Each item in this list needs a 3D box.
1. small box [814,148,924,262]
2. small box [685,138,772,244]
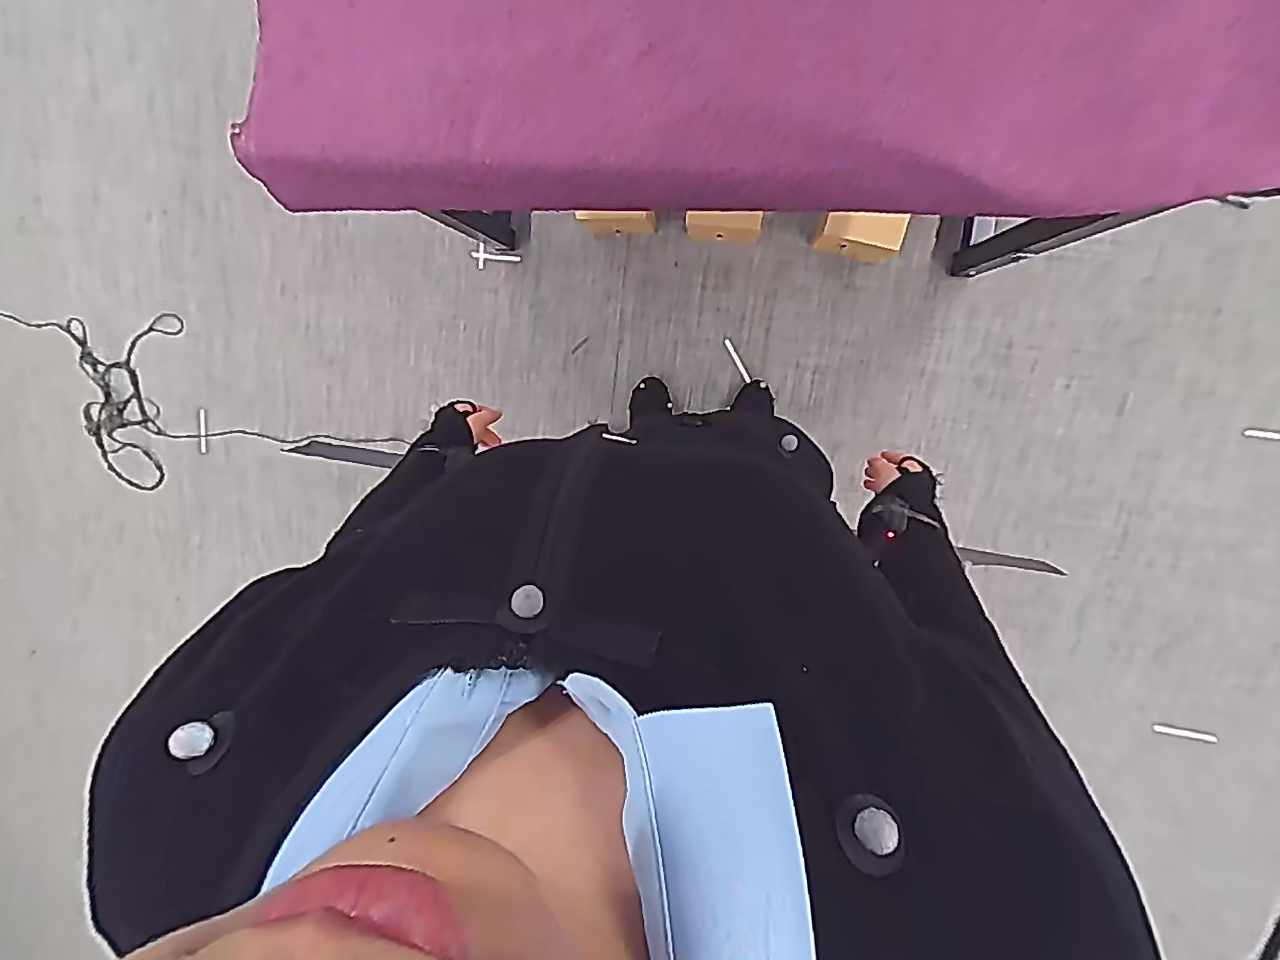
[{"bbox_3d":[0.505,-0.610,1.223,0.168,0.176,0.179,16,103,5],"label":"small box"},{"bbox_3d":[0.201,-0.659,1.252,0.168,0.176,0.179,9,103,5],"label":"small box"}]
